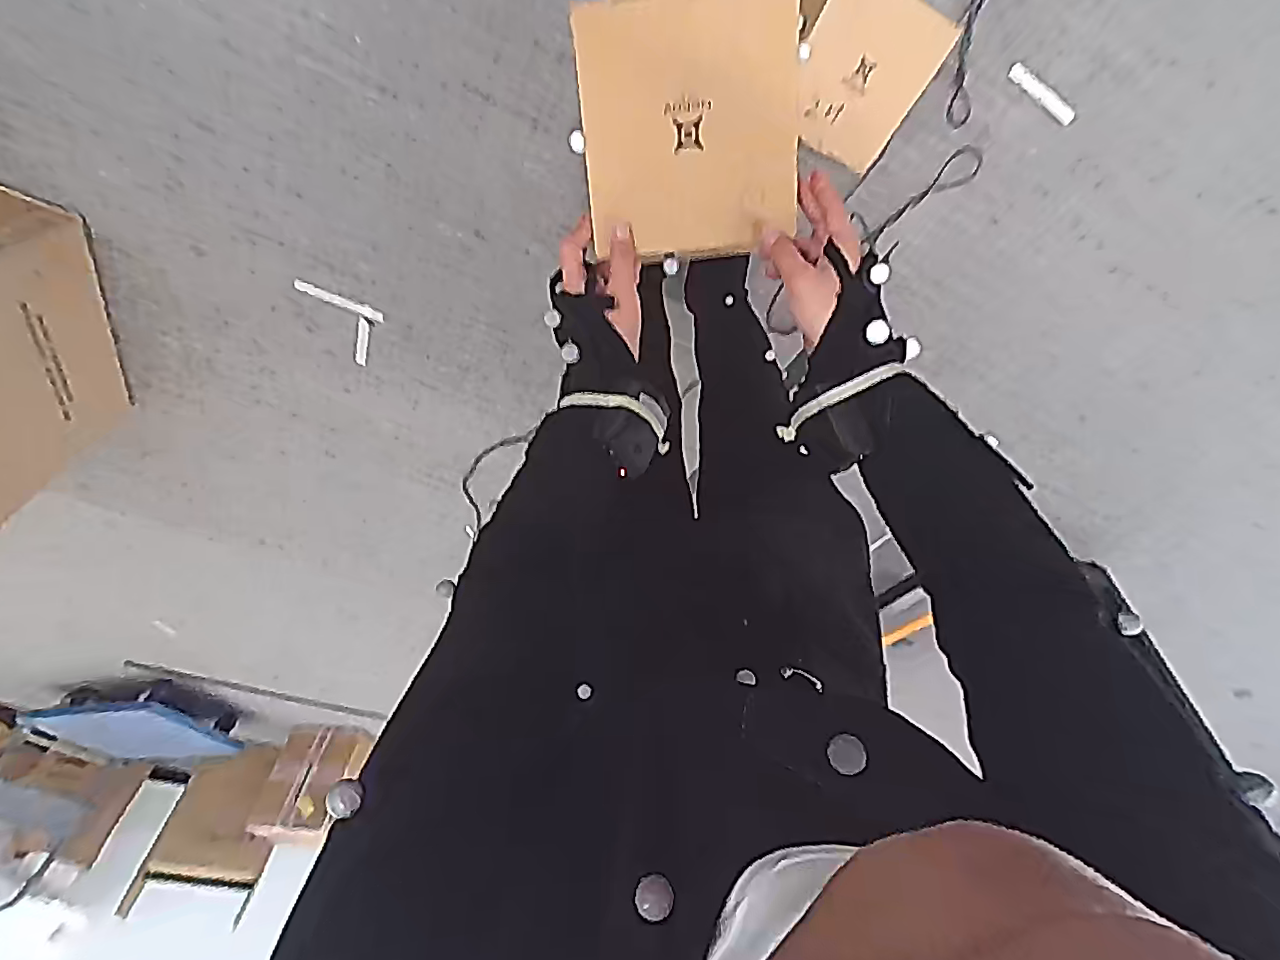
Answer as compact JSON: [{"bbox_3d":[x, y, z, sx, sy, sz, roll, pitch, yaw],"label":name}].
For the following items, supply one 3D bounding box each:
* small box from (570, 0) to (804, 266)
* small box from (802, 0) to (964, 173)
[{"bbox_3d":[0.046,-0.288,0.476,0.168,0.176,0.179,-3,108,7],"label":"small box"},{"bbox_3d":[0.278,-0.560,0.724,0.168,0.176,0.179,20,134,-15],"label":"small box"}]
